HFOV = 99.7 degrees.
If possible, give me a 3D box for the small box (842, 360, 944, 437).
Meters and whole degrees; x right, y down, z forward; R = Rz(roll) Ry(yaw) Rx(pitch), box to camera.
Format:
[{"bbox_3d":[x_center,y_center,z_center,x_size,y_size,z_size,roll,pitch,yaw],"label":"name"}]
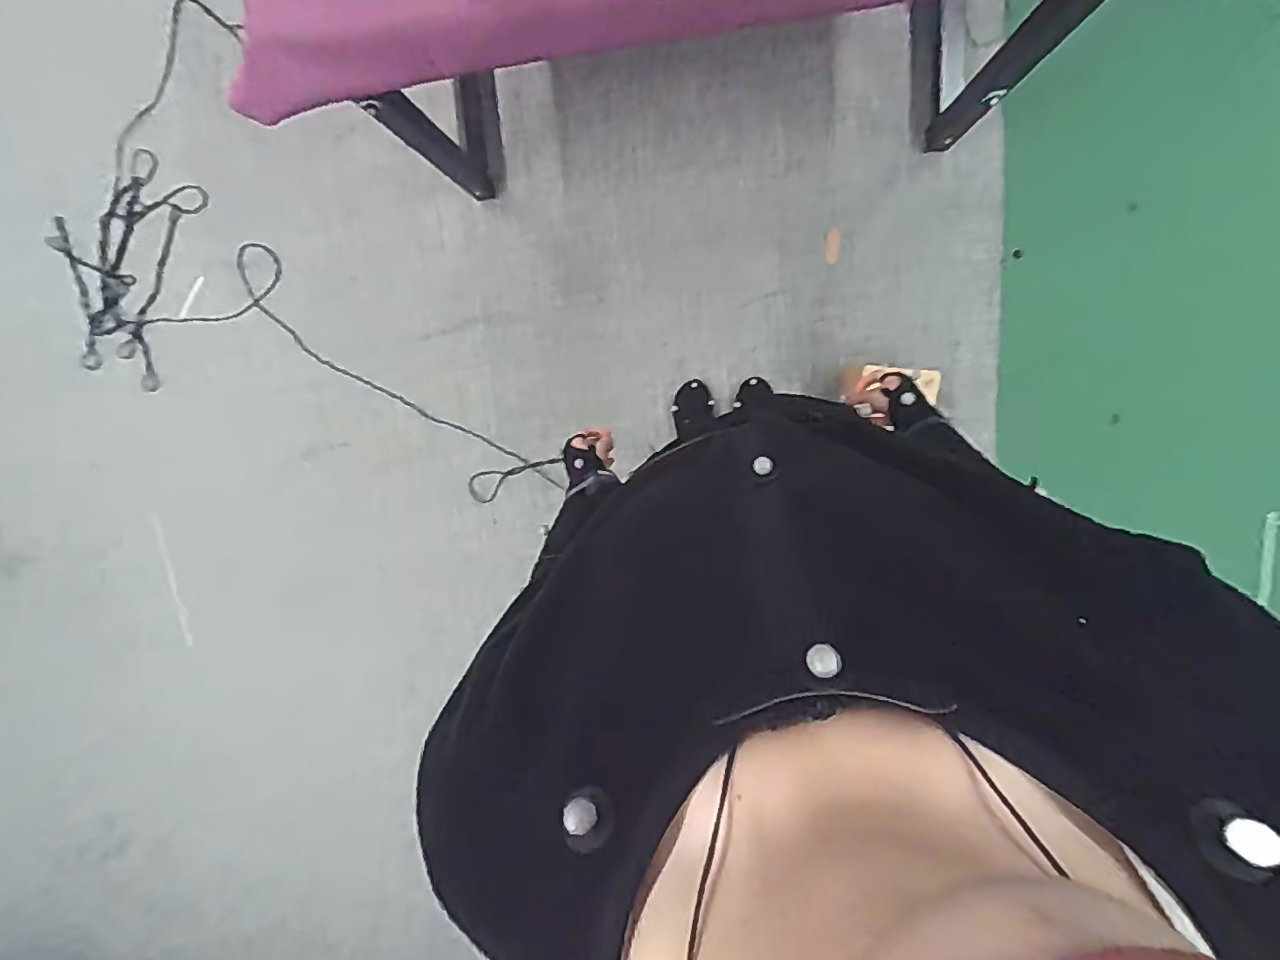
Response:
[{"bbox_3d":[0.613,-0.203,1.337,0.179,0.176,0.168,7,102,6],"label":"small box"}]
